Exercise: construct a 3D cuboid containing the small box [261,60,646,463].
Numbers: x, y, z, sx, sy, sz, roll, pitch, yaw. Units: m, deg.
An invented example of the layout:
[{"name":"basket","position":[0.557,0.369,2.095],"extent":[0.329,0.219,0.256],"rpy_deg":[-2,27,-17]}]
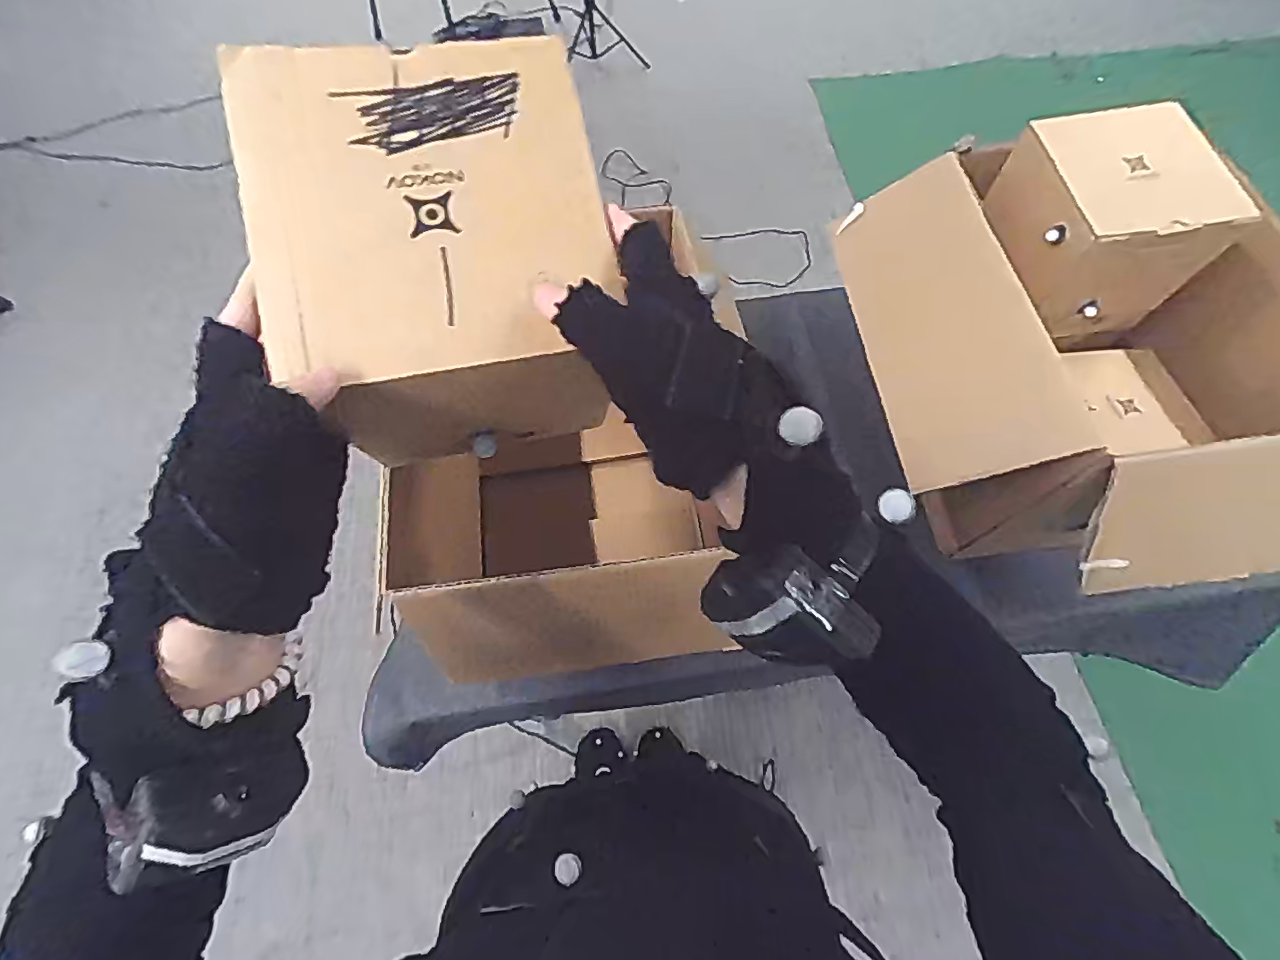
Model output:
[{"name":"small box","position":[-0.107,-0.121,0.349],"extent":[0.168,0.176,0.179],"rpy_deg":[-11,83,-12]}]
